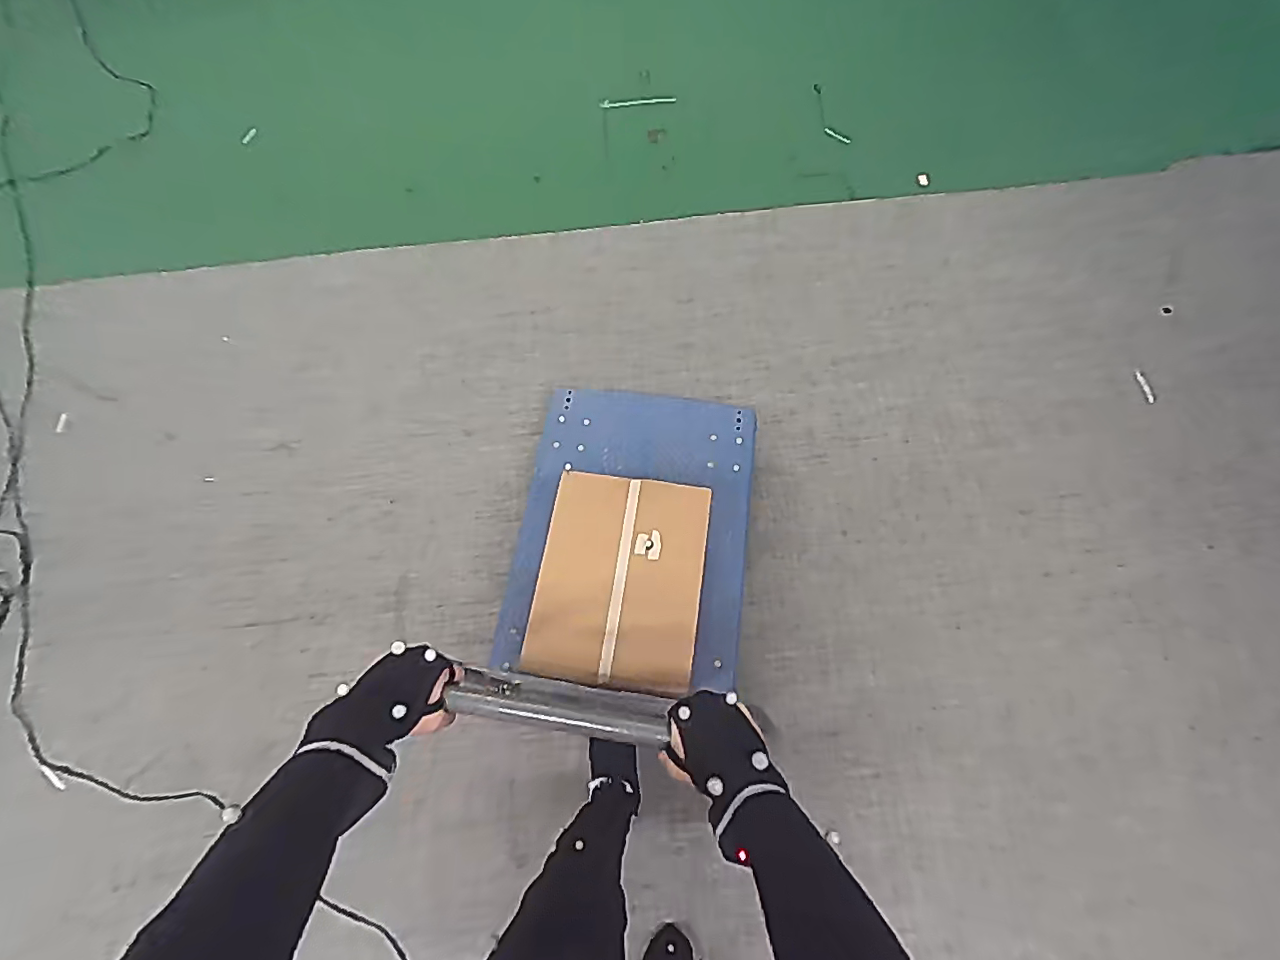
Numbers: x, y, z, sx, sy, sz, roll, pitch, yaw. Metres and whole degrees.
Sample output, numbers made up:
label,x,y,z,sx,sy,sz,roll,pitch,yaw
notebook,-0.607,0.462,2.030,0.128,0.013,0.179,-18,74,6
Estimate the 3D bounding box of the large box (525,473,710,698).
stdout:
label,x,y,z,sx,sy,sz,roll,pitch,yaw
large box,-0.029,0.242,1.181,0.320,0.320,0.408,8,68,4
